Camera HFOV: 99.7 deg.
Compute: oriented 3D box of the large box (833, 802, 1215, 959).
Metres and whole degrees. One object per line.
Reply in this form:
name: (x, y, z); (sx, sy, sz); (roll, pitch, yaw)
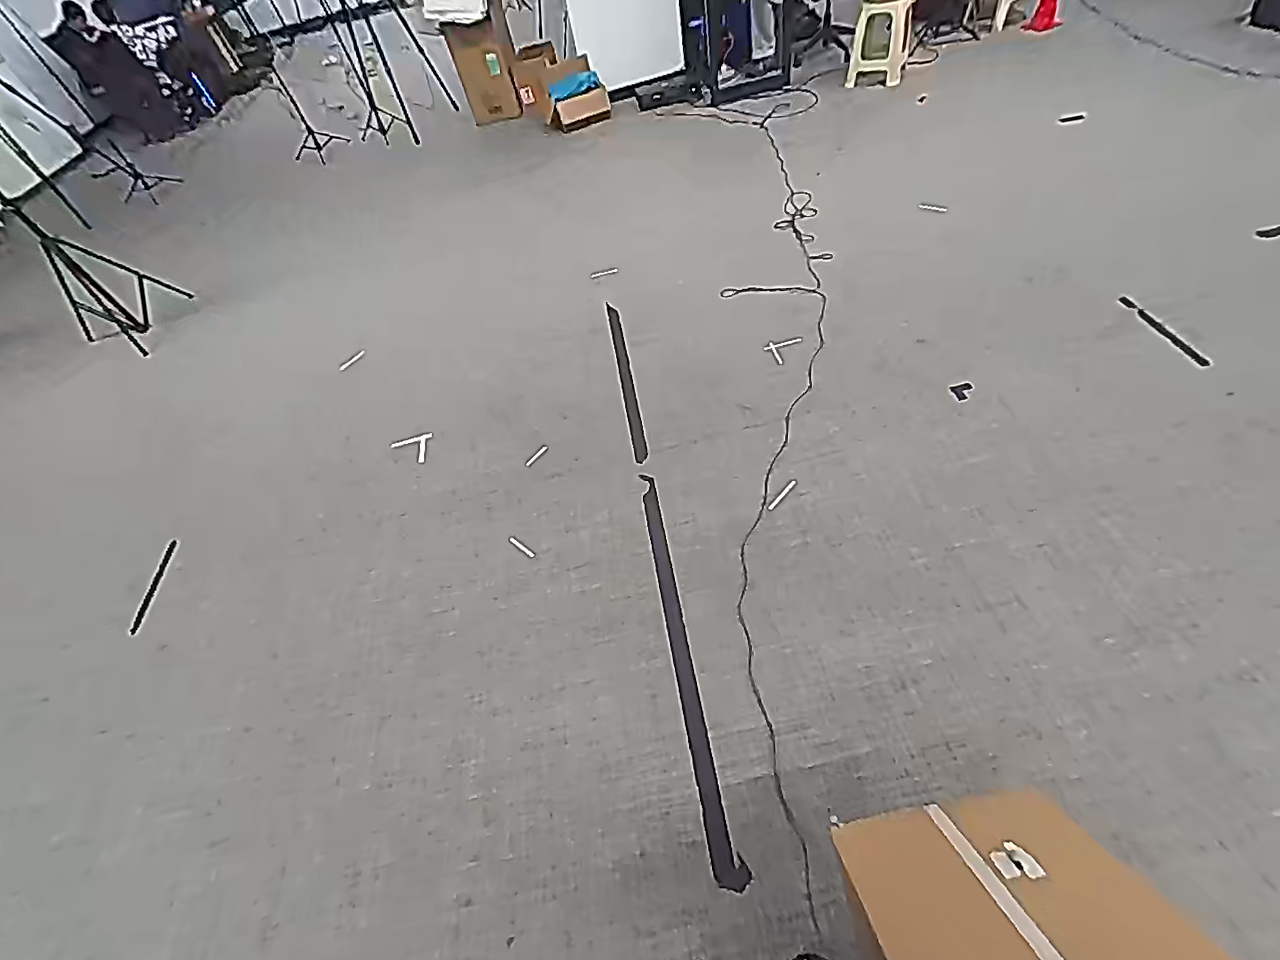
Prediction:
large box: (0.470, 0.665, 0.626); (0.320, 0.408, 0.320); (-12, 89, 3)
